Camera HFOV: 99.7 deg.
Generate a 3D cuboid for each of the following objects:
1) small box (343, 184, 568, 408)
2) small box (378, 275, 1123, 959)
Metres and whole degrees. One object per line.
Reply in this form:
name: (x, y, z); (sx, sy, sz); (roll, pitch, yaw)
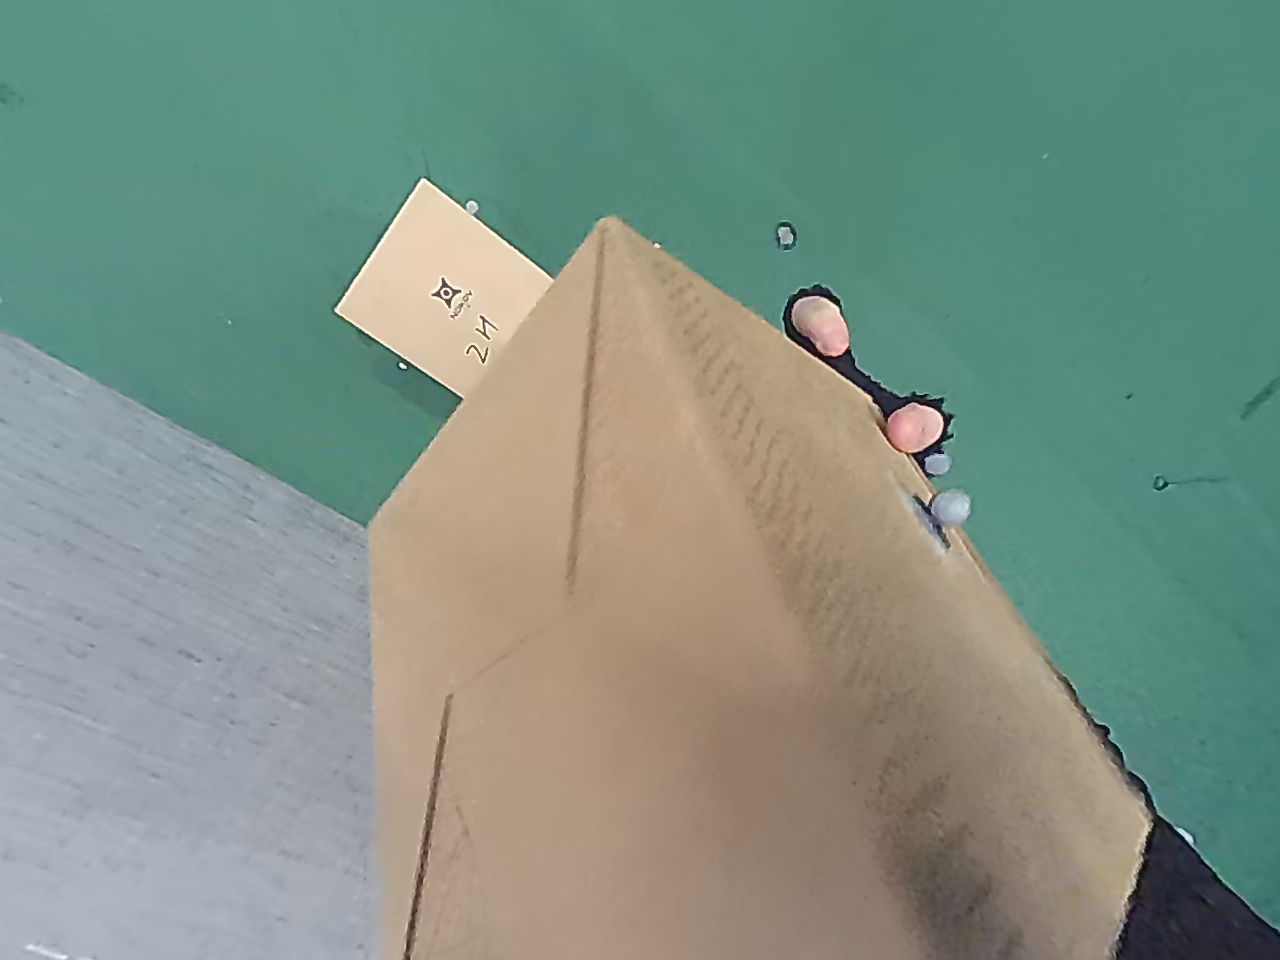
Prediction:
small box: (-0.208, -0.207, 0.652); (0.179, 0.176, 0.168); (35, 95, -17)
small box: (0.019, 0.064, 0.195); (0.176, 0.179, 0.168); (13, 140, -42)
